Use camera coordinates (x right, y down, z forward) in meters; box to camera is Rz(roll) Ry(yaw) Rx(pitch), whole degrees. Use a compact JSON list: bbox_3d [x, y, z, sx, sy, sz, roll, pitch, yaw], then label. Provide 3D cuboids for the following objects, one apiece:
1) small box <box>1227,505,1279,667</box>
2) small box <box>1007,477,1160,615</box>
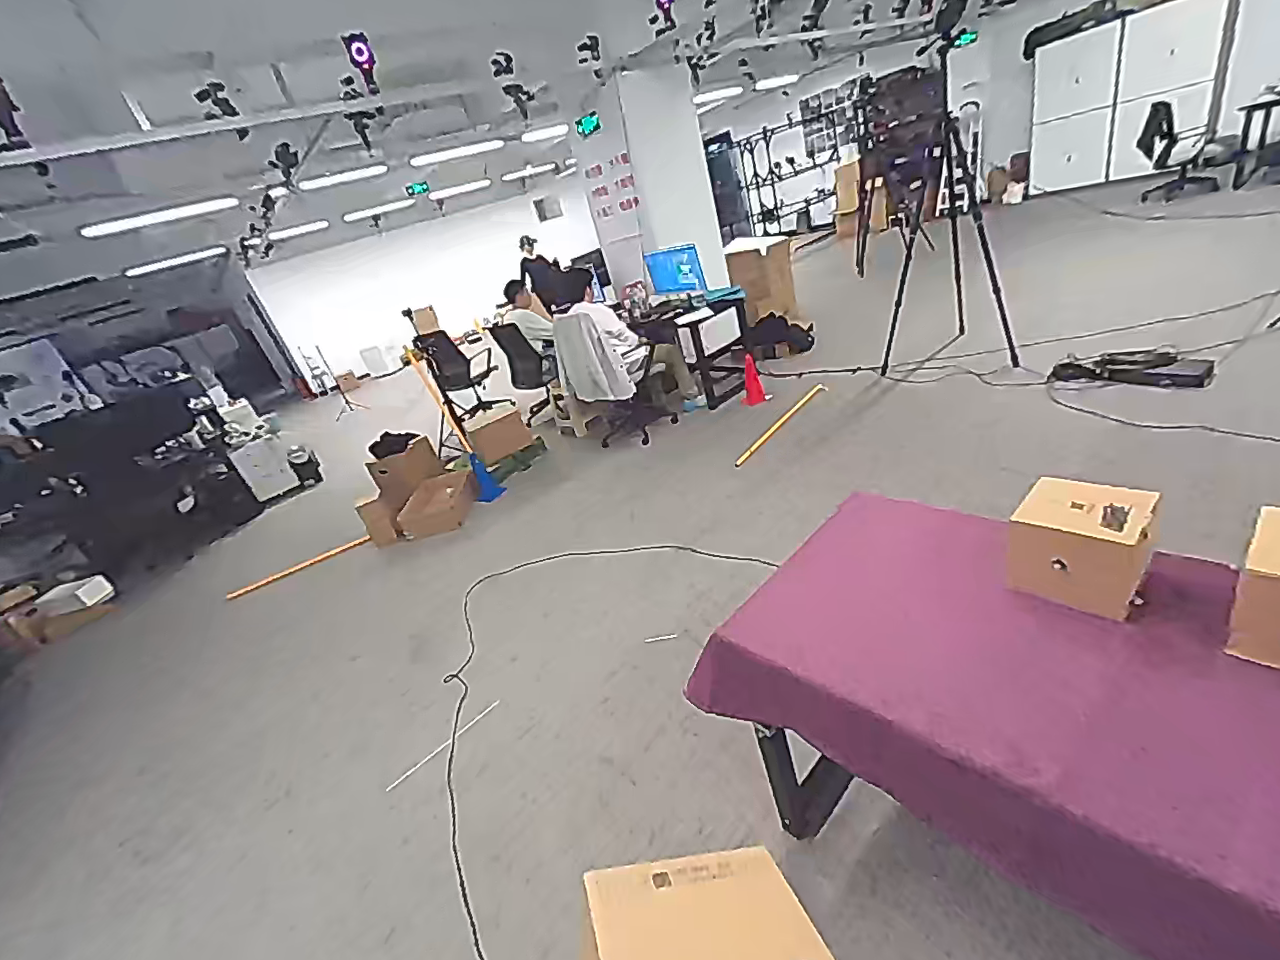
[{"bbox_3d":[0.980,0.164,0.771,0.179,0.176,0.168,-36,30,-29],"label":"small box"},{"bbox_3d":[0.796,0.118,0.980,0.168,0.176,0.179,-34,29,-28],"label":"small box"}]
